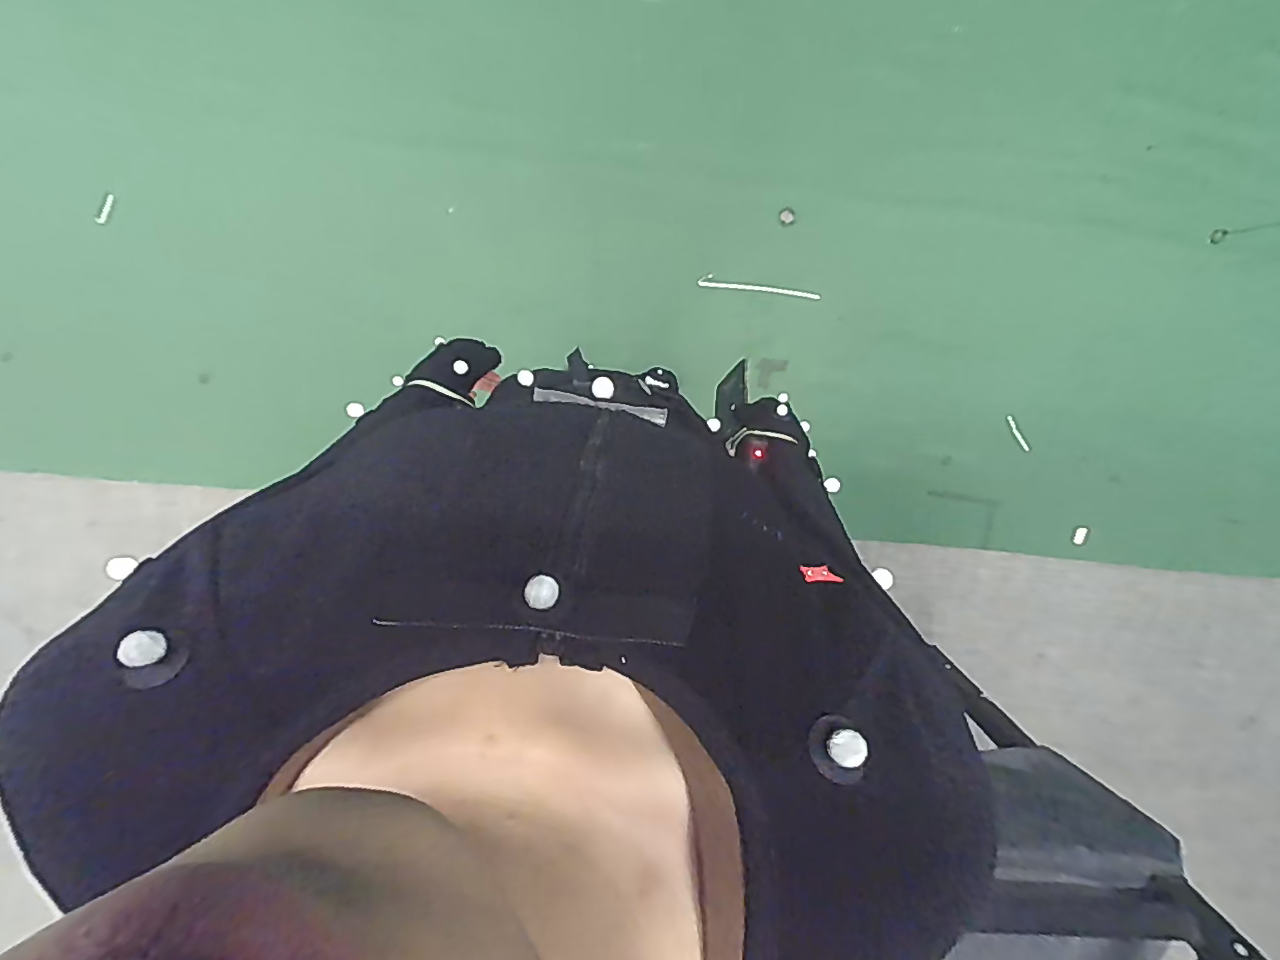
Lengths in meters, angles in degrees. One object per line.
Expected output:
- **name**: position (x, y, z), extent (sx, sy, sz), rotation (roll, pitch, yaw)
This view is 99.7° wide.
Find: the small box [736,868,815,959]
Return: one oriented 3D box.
- **small box**: position (0.396, 1.305, 1.617), extent (0.179, 0.176, 0.168), rotation (7, 103, -3)
